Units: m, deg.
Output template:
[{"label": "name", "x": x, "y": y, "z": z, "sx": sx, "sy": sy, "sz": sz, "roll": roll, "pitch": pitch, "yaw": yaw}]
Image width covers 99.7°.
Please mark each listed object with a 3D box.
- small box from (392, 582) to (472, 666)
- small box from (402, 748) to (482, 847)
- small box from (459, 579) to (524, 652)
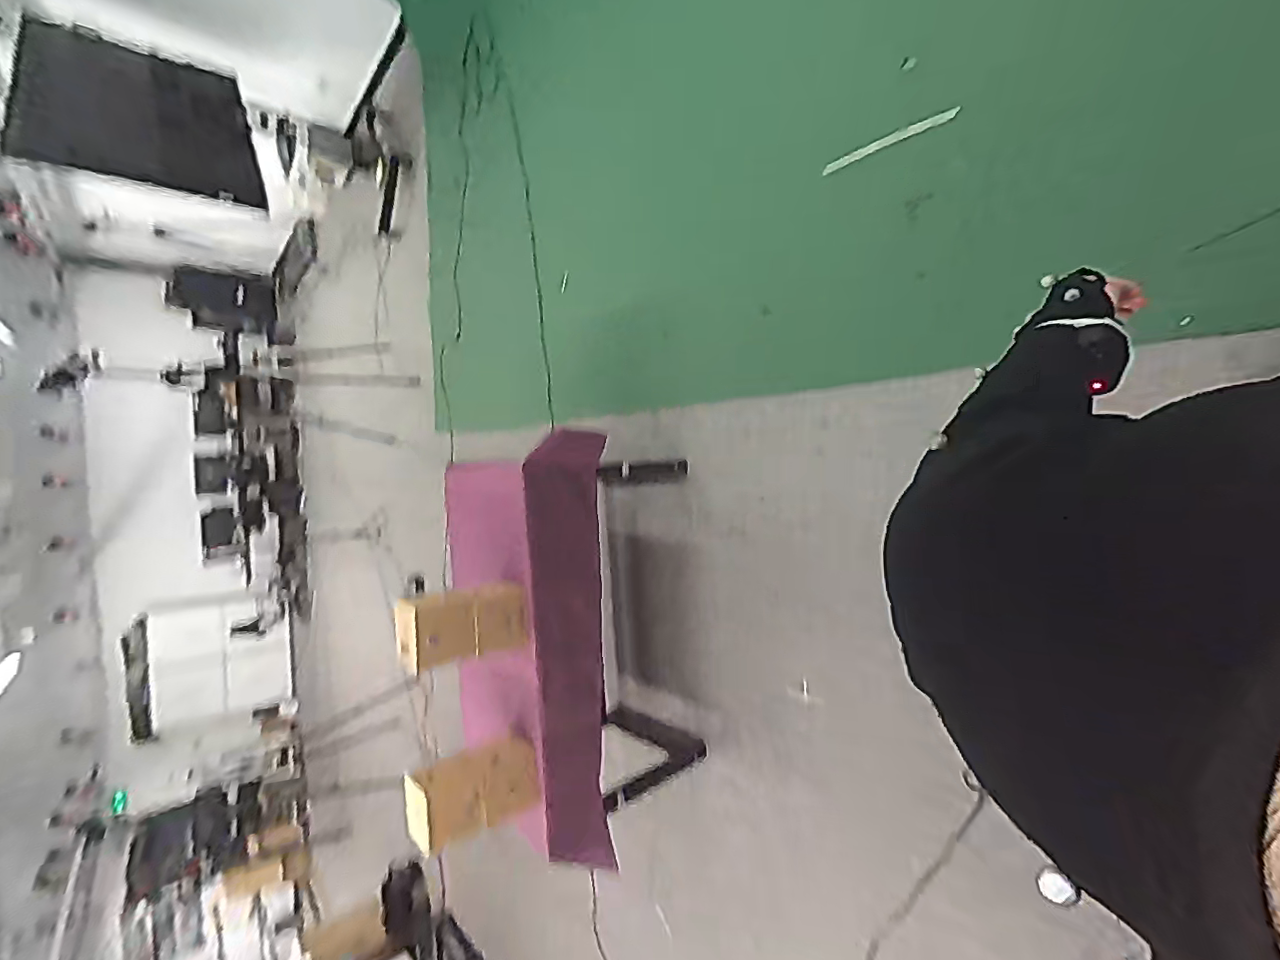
[{"label": "small box", "x": -0.591, "y": 0.403, "z": 1.543, "sx": 0.168, "sy": 0.176, "sz": 0.179, "roll": 2, "pitch": 94, "yaw": 48}, {"label": "small box", "x": -0.569, "y": 0.900, "z": 1.555, "sx": 0.179, "sy": 0.176, "sz": 0.168, "roll": -3, "pitch": 90, "yaw": 48}, {"label": "small box", "x": -0.466, "y": 0.403, "z": 1.650, "sx": 0.179, "sy": 0.176, "sz": 0.168, "roll": 1, "pitch": 93, "yaw": 48}]
